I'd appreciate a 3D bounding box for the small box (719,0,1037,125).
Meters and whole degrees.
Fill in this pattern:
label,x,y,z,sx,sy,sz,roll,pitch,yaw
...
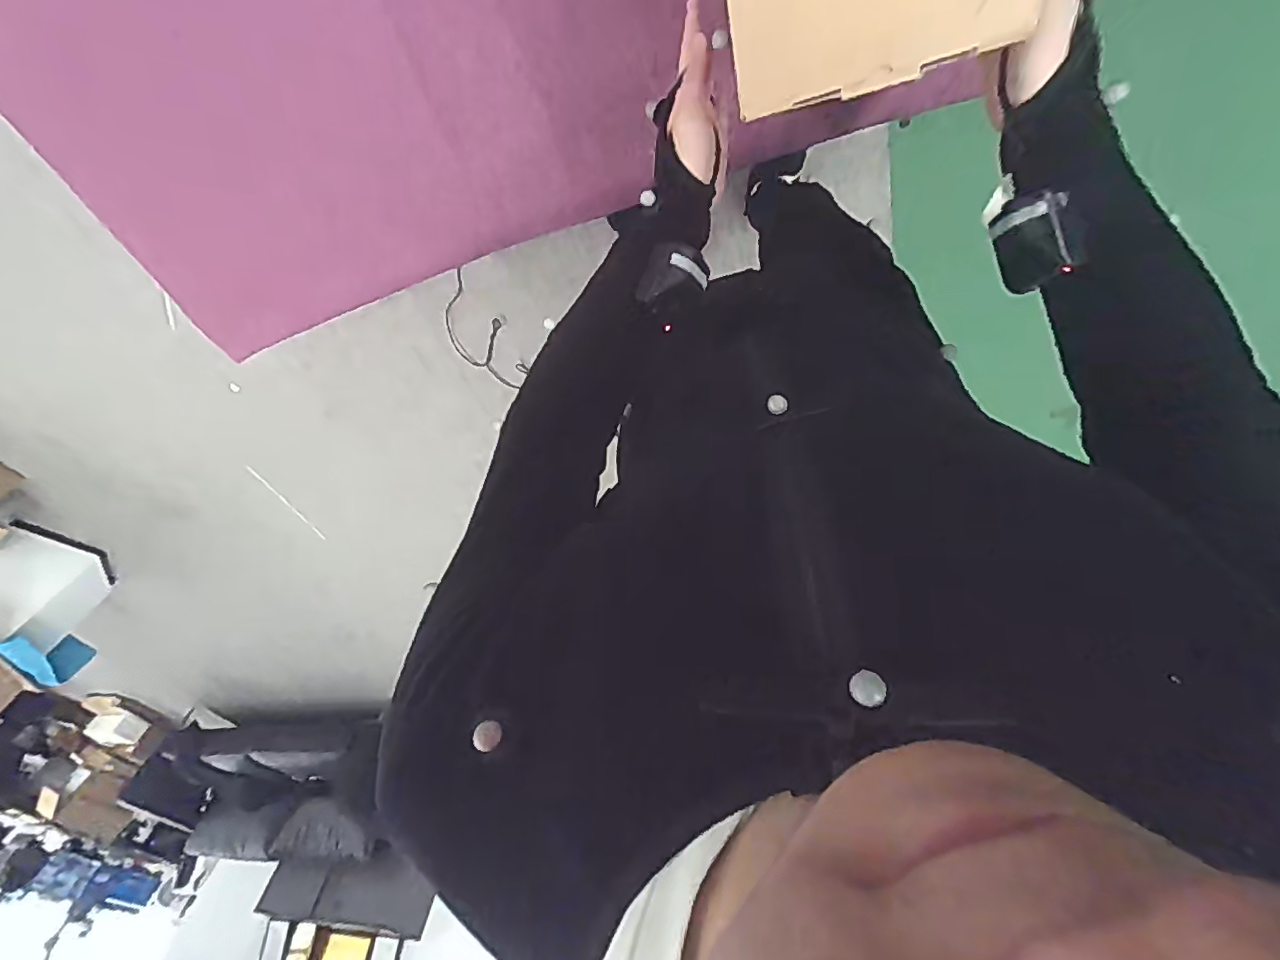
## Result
label,x,y,z,sx,sy,sz,roll,pitch,yaw
small box,0.130,-0.350,0.327,0.168,0.176,0.179,-6,129,17

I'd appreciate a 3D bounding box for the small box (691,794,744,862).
label,x,y,z,sx,sy,sz,roll,pitch,yaw
small box,0.294,1.301,2.028,0.168,0.176,0.179,-9,128,19
